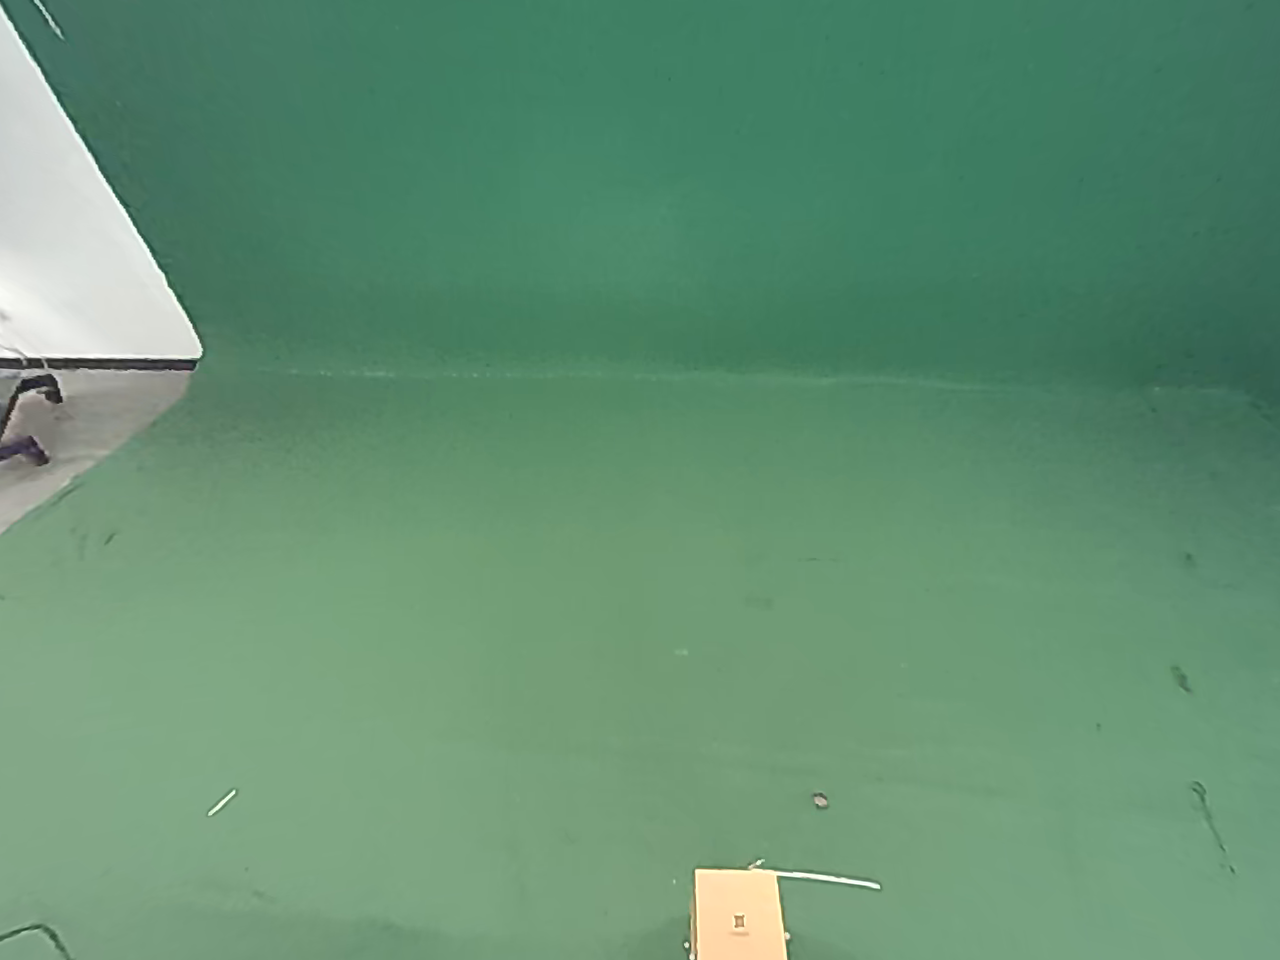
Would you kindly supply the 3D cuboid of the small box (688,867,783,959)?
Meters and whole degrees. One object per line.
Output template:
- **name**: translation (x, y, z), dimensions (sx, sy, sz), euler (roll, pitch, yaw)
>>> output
- **small box**: translation (0.183, 0.901, 1.077), dimensions (0.168, 0.176, 0.179), euler (0, 41, 2)
